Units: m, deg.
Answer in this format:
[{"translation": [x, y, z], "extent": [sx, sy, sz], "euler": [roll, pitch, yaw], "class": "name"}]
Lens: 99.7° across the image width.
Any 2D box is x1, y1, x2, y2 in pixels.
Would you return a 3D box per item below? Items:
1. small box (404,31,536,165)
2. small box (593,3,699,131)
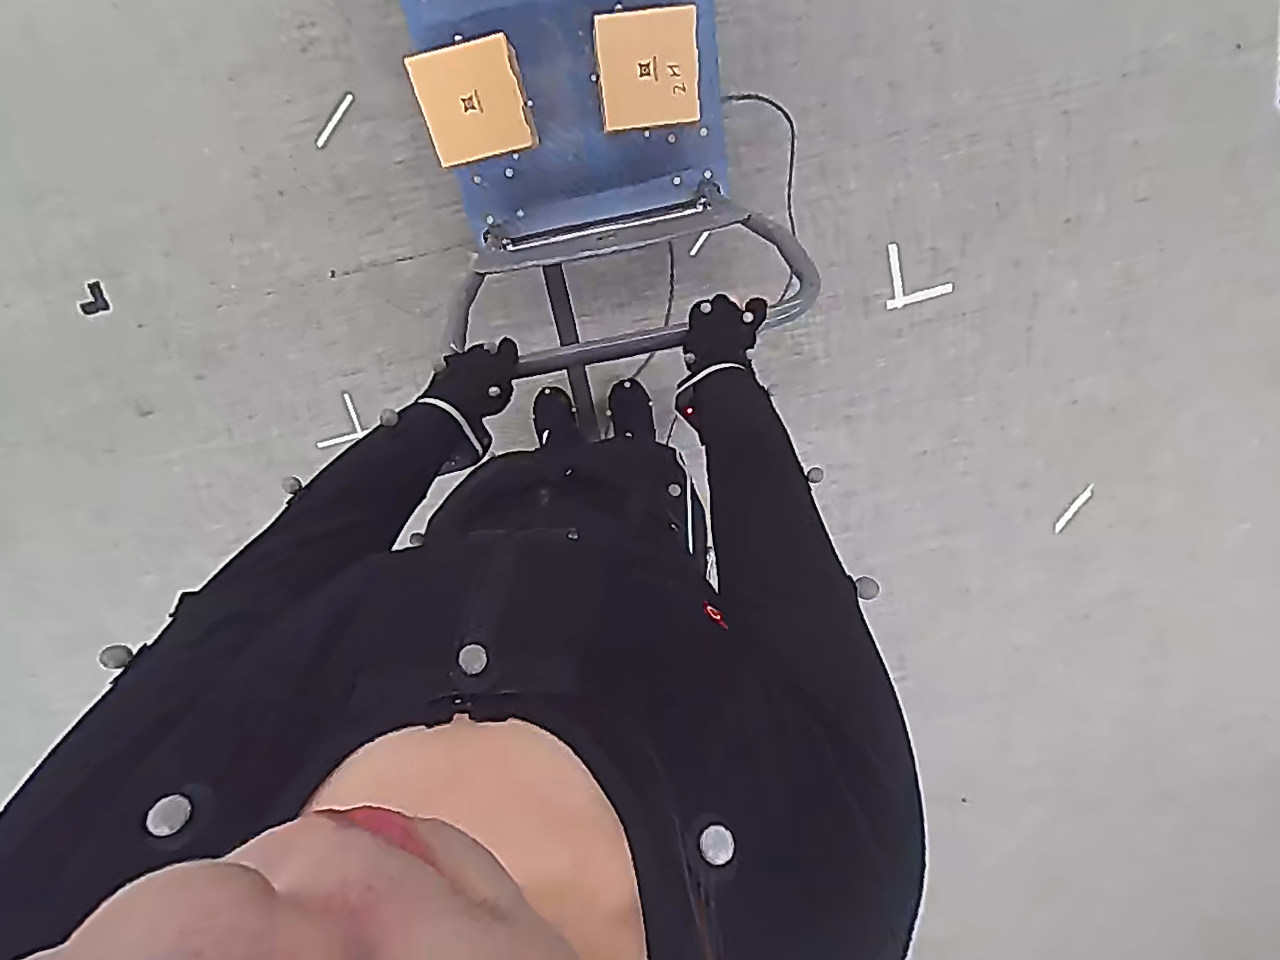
[{"translation": [-0.304, -0.700, 1.010], "extent": [0.179, 0.176, 0.168], "euler": [-15, 121, 1], "class": "small box"}, {"translation": [0.008, -0.758, 1.009], "extent": [0.179, 0.176, 0.168], "euler": [-8, 122, -2], "class": "small box"}]
